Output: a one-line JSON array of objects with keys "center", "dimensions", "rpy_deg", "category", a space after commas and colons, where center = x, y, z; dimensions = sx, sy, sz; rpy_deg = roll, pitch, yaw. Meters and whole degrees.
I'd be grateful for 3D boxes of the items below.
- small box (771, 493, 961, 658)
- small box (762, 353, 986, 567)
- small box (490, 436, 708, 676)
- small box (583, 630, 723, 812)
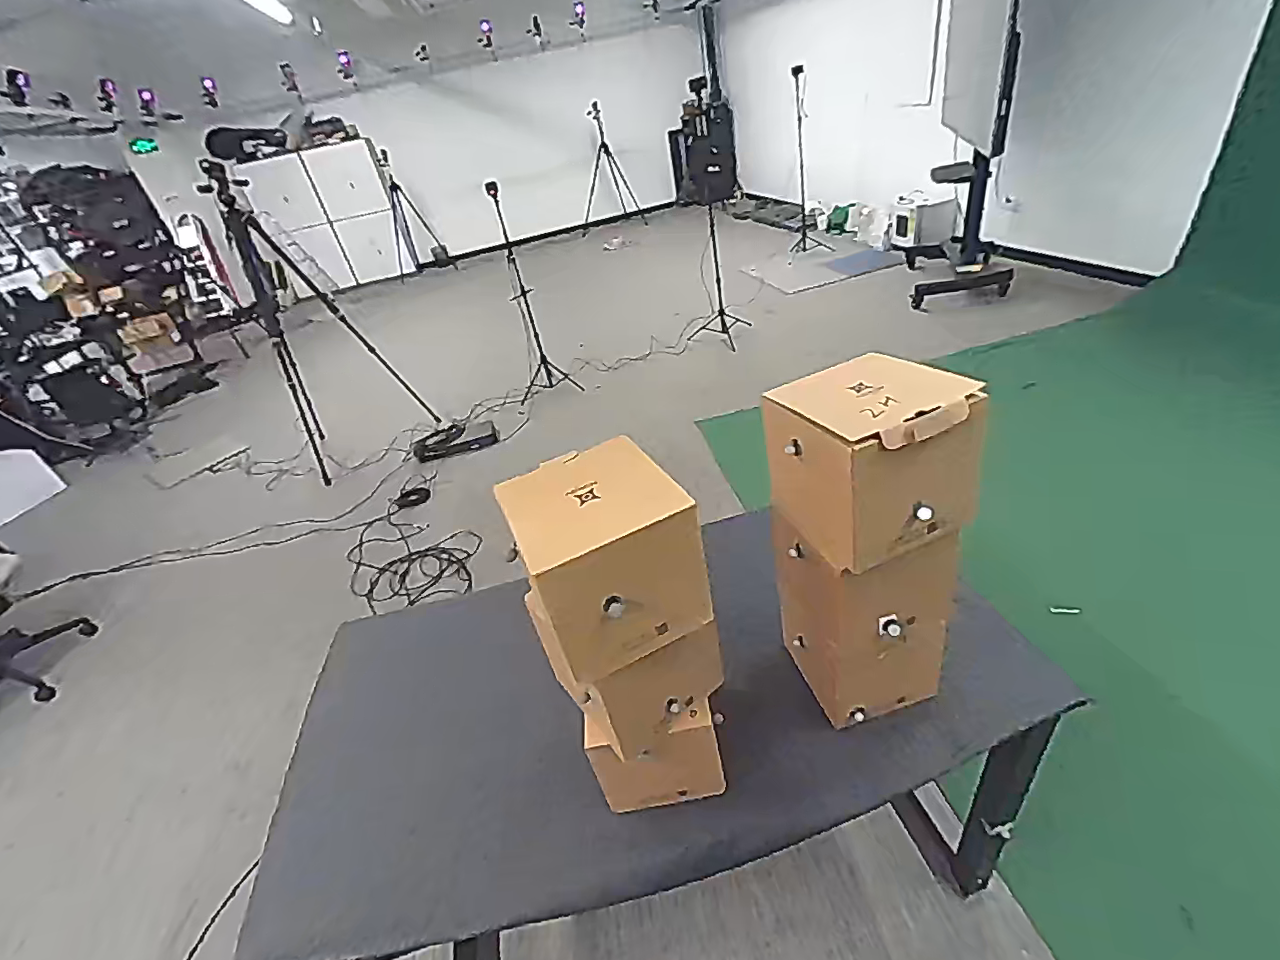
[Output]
[{"center": [0.295, 0.104, 0.737], "dimensions": [0.168, 0.176, 0.179], "rpy_deg": [-20, 33, -7], "category": "small box"}, {"center": [0.265, -0.028, 0.642], "dimensions": [0.168, 0.176, 0.179], "rpy_deg": [-22, 33, -10], "category": "small box"}, {"center": [-0.041, 0.083, 0.588], "dimensions": [0.168, 0.176, 0.179], "rpy_deg": [-23, 35, -15], "category": "small box"}, {"center": [0.018, 0.340, 0.783], "dimensions": [0.168, 0.176, 0.179], "rpy_deg": [-12, 32, 2], "category": "small box"}]
